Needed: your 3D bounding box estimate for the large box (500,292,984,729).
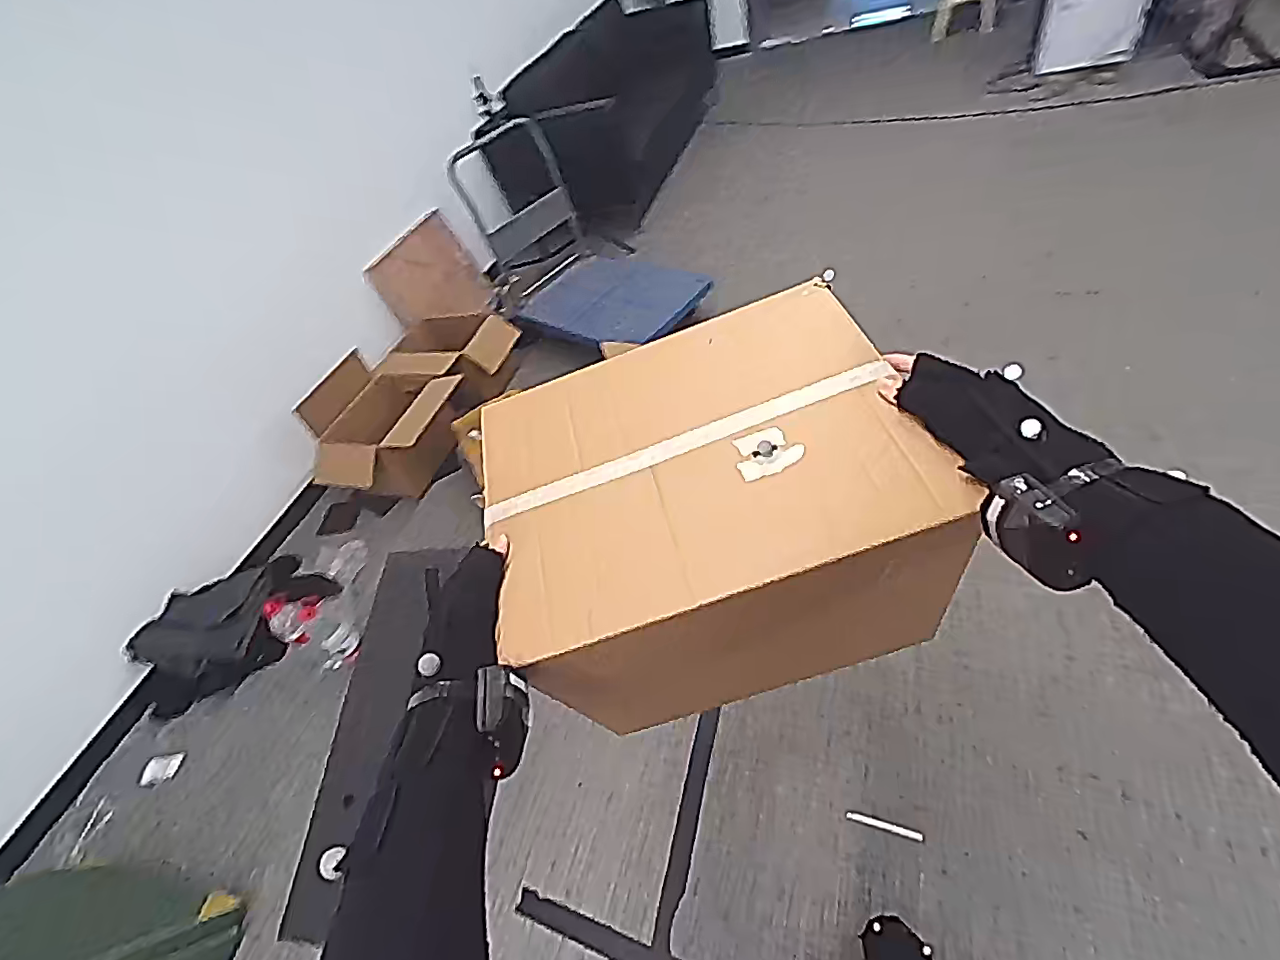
[{"bbox_3d":[0.092,0.054,0.643,0.408,0.320,0.320,-19,53,5],"label":"large box"}]
